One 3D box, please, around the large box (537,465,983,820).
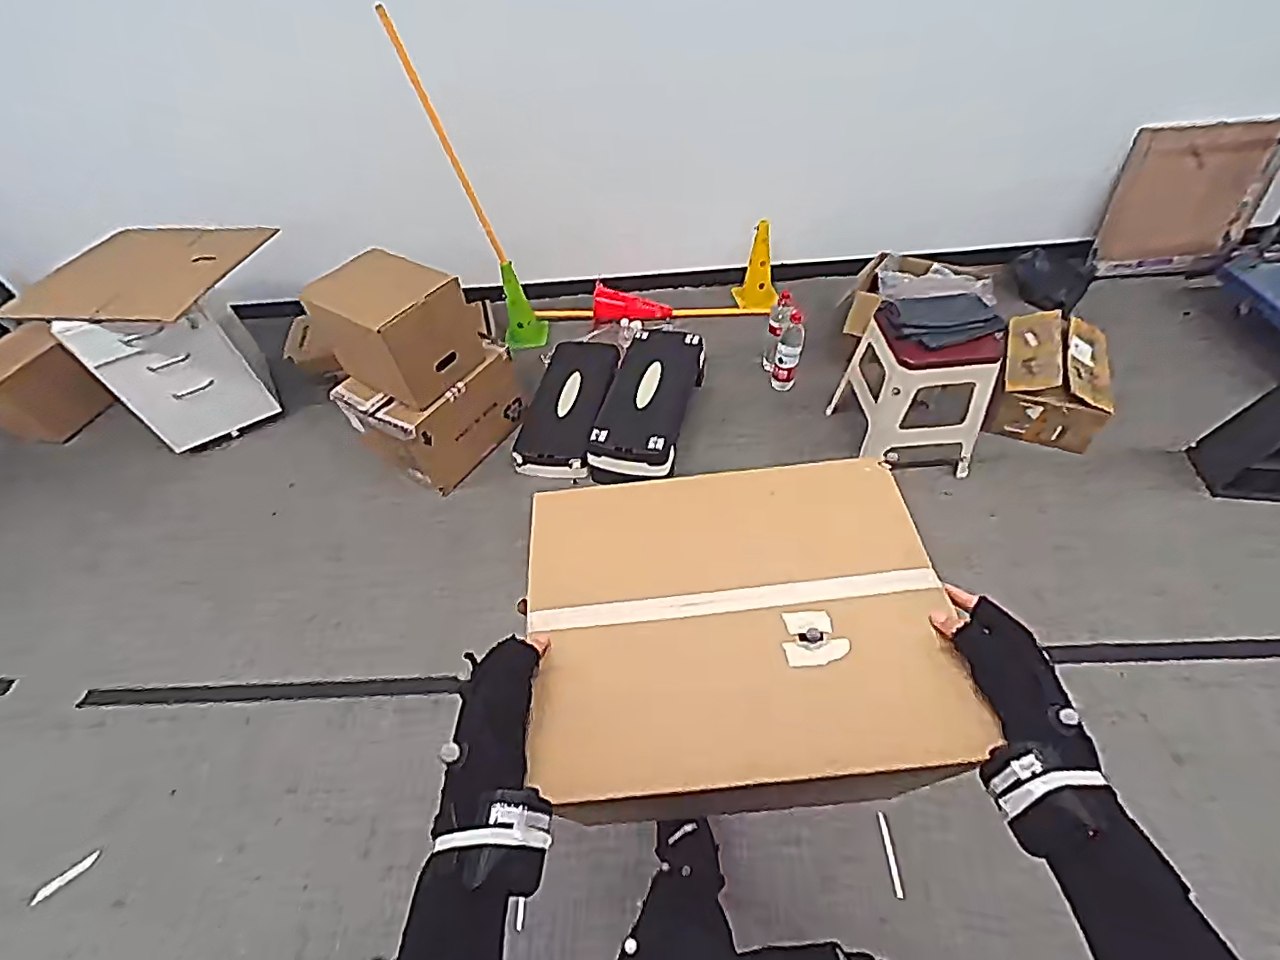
[{"bbox_3d":[0.100,0.214,0.677,0.408,0.320,0.320,-6,55,0],"label":"large box"}]
